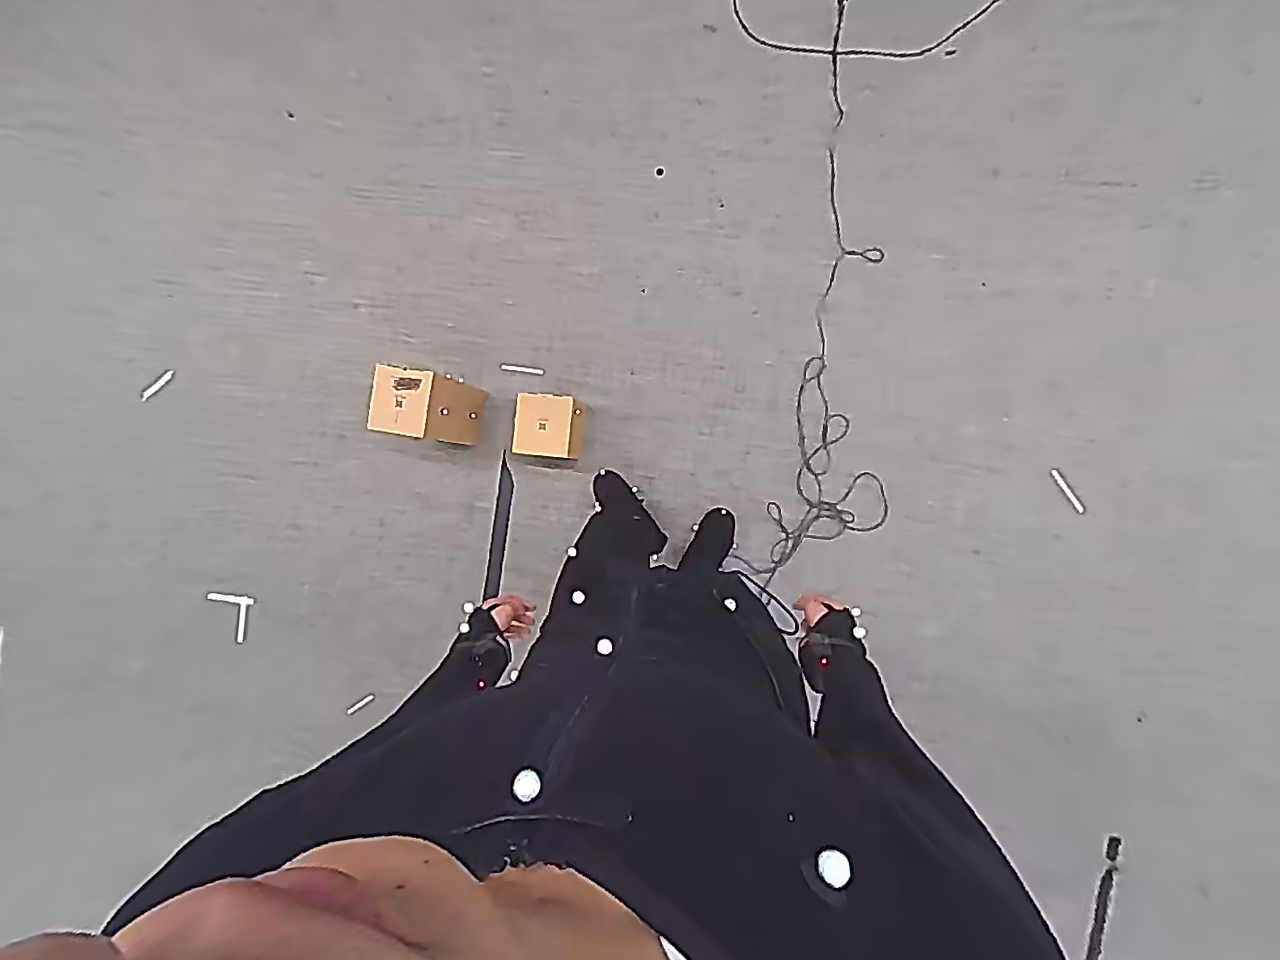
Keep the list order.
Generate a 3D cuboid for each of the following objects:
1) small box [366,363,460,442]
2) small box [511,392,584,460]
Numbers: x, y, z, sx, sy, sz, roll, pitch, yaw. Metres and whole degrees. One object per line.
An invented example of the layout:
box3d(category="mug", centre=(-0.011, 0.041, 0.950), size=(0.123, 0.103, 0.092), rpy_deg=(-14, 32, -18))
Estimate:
box3d(category="small box", centre=(-0.613, -0.207, 1.480), size=(0.168, 0.176, 0.179), rpy_deg=(10, 92, 8))
box3d(category="small box", centre=(-0.268, -0.154, 1.602), size=(0.168, 0.176, 0.179), rpy_deg=(6, 90, 7))
